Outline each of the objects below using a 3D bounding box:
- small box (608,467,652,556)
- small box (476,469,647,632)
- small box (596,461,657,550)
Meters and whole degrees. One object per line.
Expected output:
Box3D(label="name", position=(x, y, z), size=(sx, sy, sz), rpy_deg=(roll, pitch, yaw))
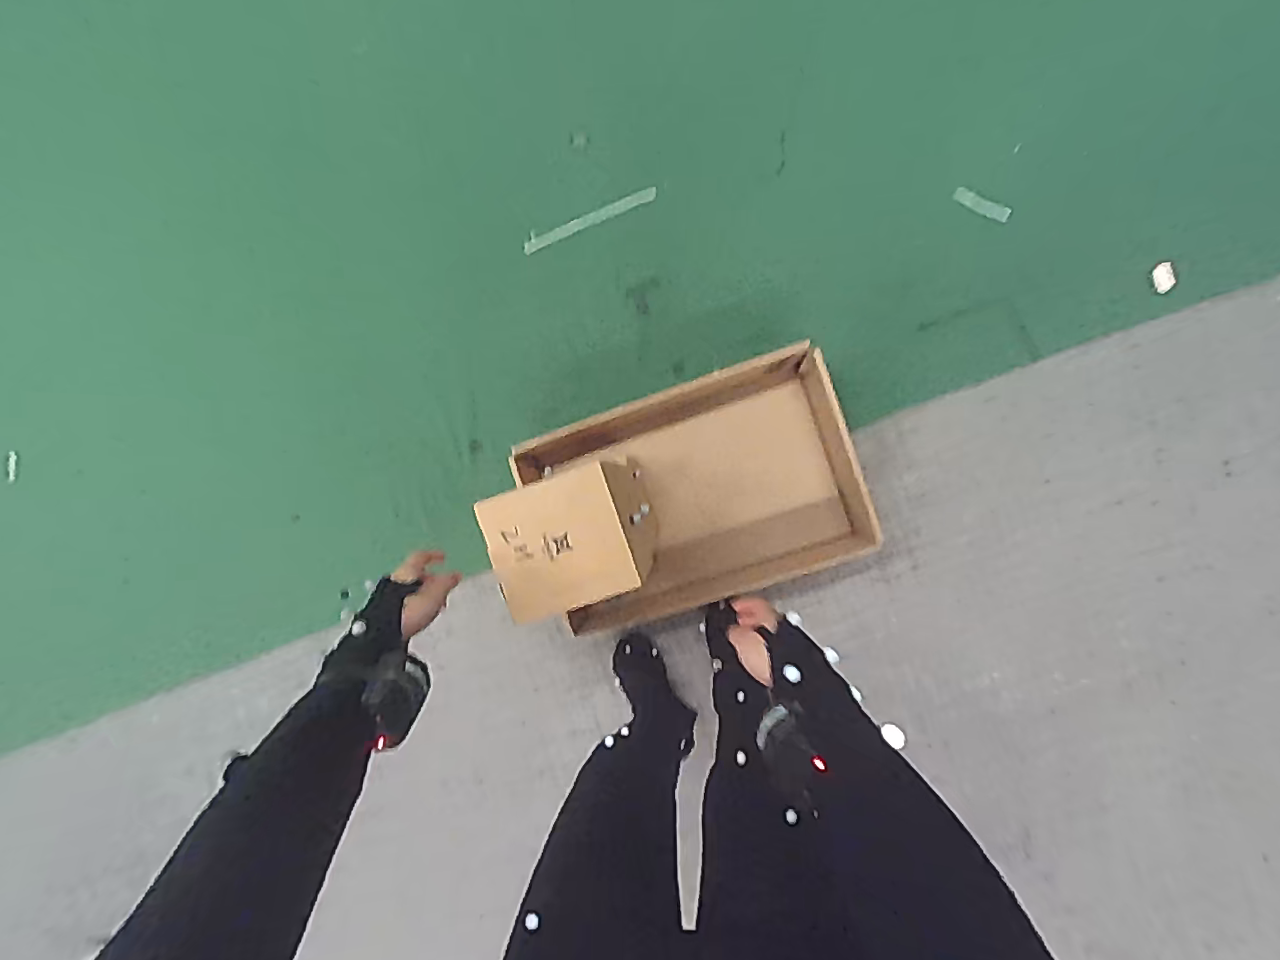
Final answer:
Box3D(label="small box", position=(-0.089, 0.083, 0.919), size=(0.179, 0.176, 0.168), rpy_deg=(-19, 90, 5))
Box3D(label="small box", position=(-0.095, 0.085, 0.753), size=(0.179, 0.176, 0.168), rpy_deg=(-20, 89, 6))
Box3D(label="small box", position=(-0.070, 0.067, 1.081), size=(0.168, 0.176, 0.179), rpy_deg=(-20, 90, 6))
